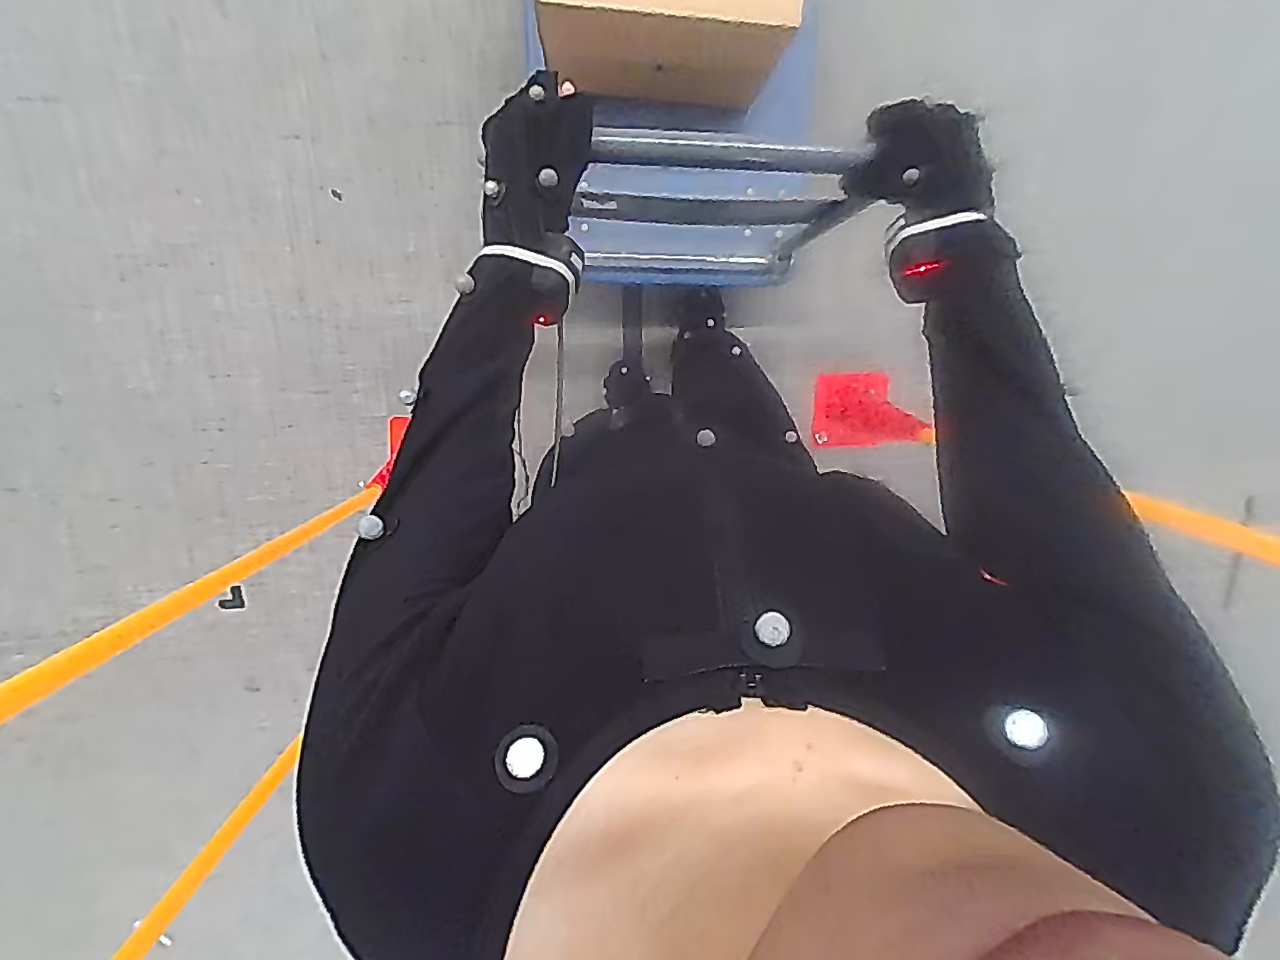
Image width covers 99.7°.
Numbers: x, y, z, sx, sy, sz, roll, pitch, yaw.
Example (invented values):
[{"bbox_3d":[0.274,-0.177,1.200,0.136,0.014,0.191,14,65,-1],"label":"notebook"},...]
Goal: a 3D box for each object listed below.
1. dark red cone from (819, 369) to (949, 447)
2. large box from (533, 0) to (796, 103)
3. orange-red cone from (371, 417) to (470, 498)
[{"bbox_3d":[0.587,-0.149,1.273,0.201,0.394,0.202,-3,105,-4],"label":"dark red cone"},{"bbox_3d":[0.039,-0.885,0.922,0.408,0.320,0.320,2,104,-3],"label":"large box"},{"bbox_3d":[-0.540,-0.023,1.264,0.198,0.360,0.199,5,103,-5],"label":"orange-red cone"}]
